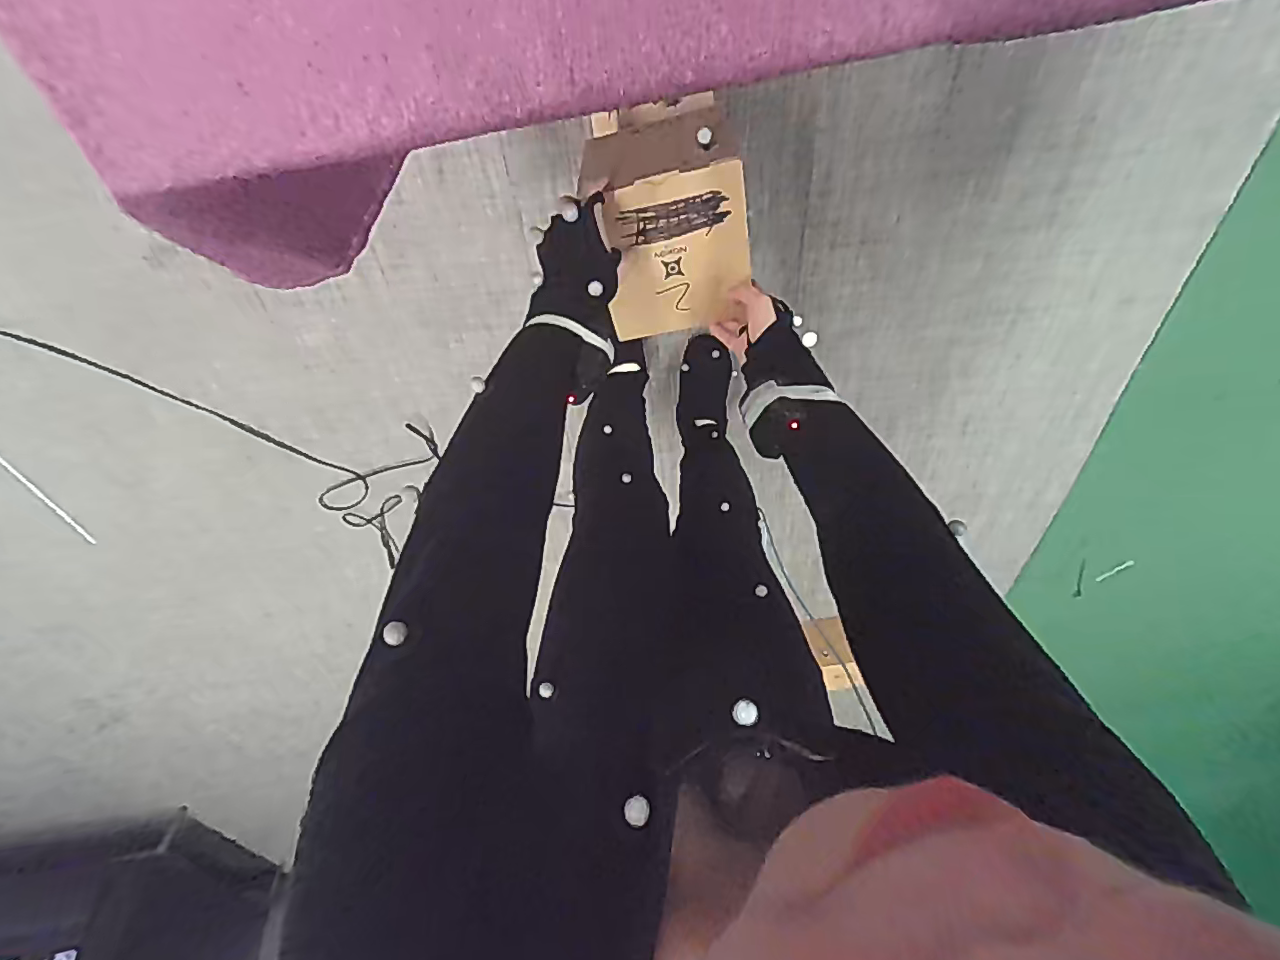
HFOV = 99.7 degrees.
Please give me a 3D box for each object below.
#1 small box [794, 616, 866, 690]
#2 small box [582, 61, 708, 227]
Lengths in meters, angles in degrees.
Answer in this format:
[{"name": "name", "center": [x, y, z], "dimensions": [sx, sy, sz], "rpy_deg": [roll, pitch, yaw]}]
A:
[{"name": "small box", "center": [0.624, 0.575, 1.803], "dimensions": [0.179, 0.176, 0.168], "rpy_deg": [-8, 132, 1]}, {"name": "small box", "center": [0.009, -0.505, 0.813], "dimensions": [0.168, 0.176, 0.179], "rpy_deg": [-7, 132, 0]}]
